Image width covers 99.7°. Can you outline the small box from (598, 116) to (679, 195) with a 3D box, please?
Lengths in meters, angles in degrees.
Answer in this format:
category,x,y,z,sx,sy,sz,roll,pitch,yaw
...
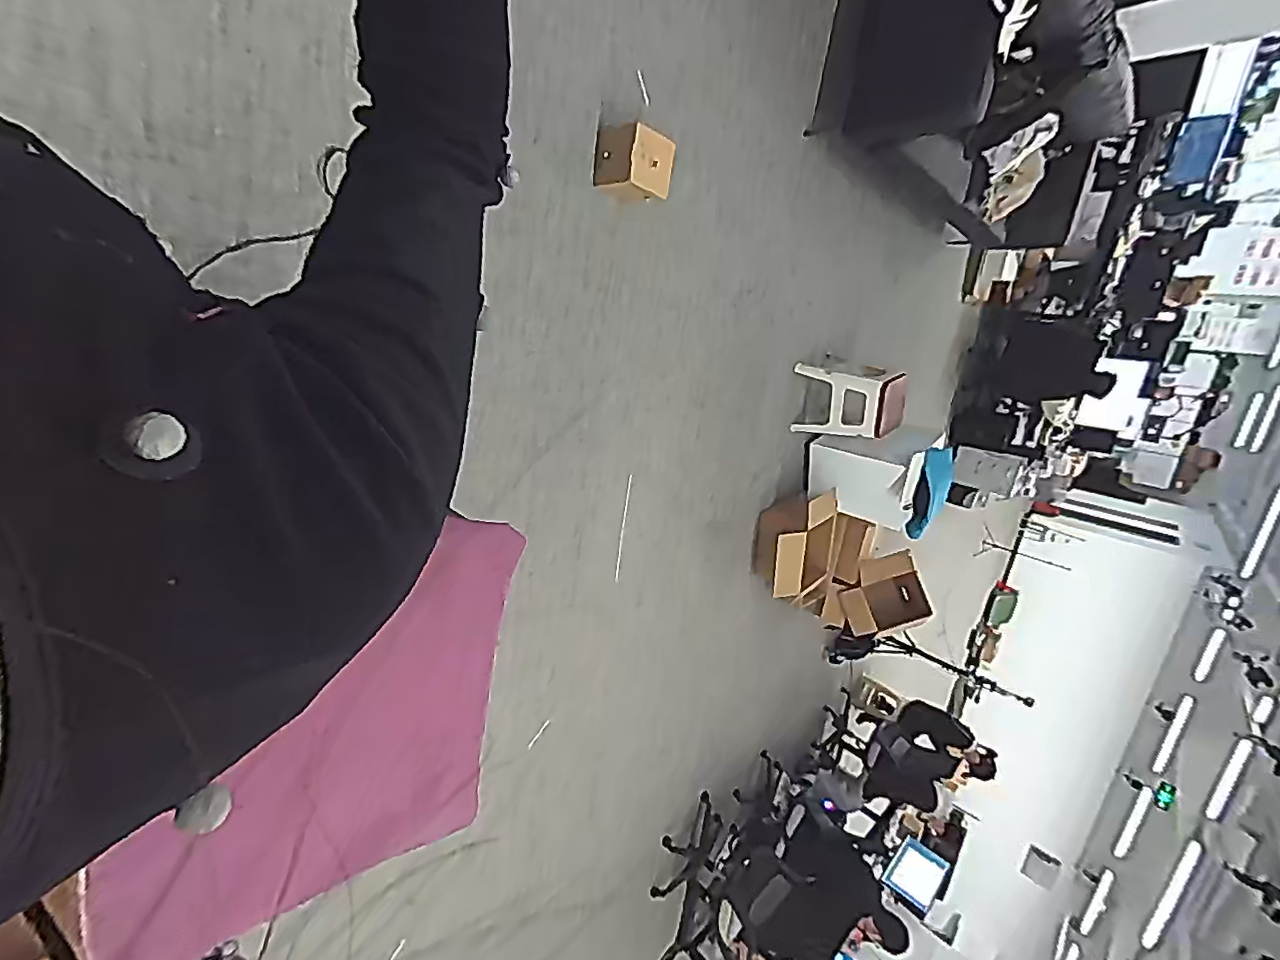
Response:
category,x,y,z,sx,sy,sz,roll,pitch,yaw
small box,-0.006,-1.007,1.694,0.179,0.176,0.168,-5,109,-45
